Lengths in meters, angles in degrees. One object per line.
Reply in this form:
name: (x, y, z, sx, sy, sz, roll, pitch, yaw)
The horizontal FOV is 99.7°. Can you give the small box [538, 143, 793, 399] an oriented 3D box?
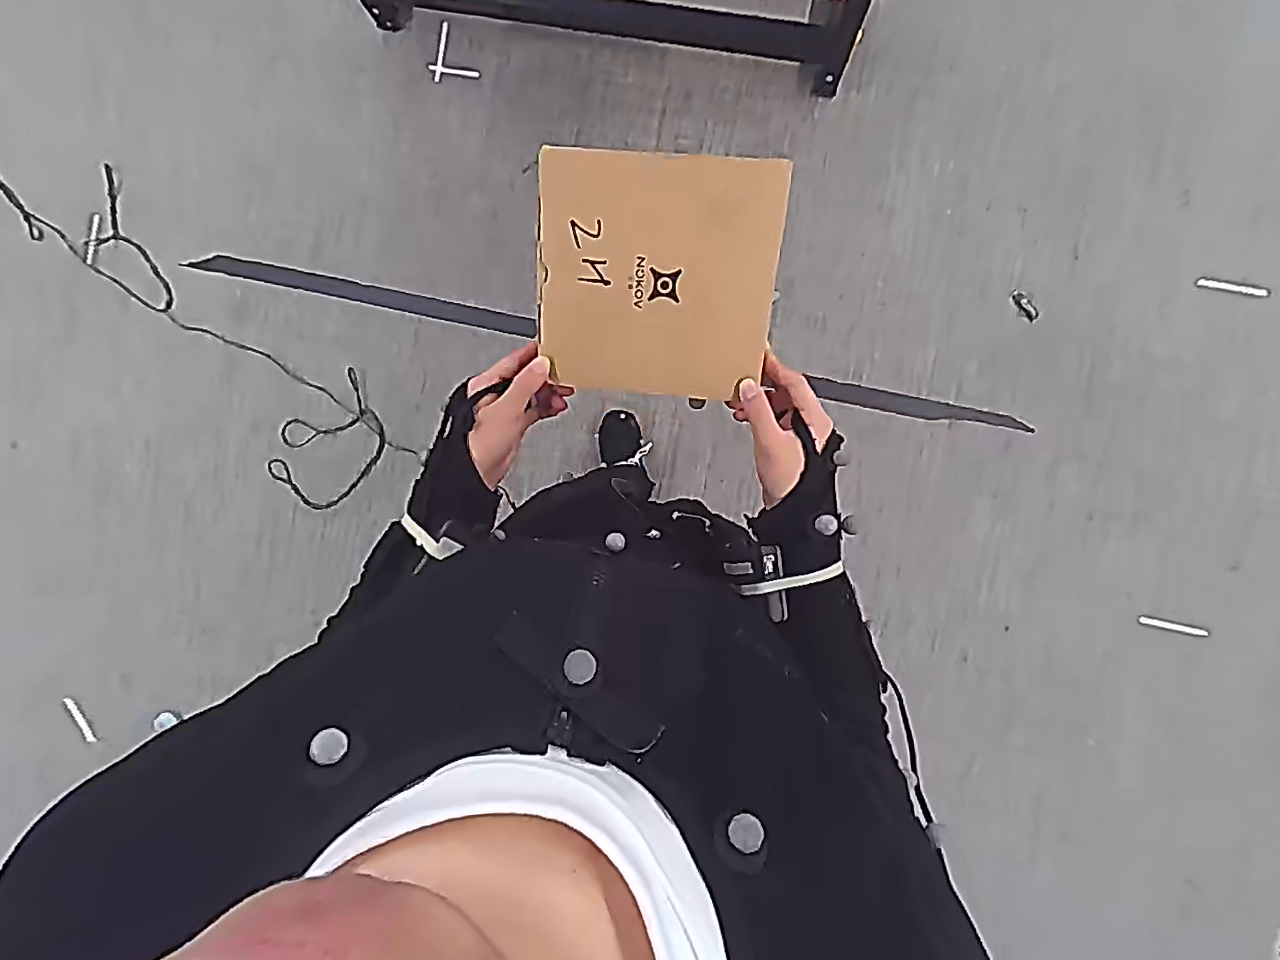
small box: (0.020, -0.176, 0.470, 0.179, 0.176, 0.168, 7, 111, 5)
